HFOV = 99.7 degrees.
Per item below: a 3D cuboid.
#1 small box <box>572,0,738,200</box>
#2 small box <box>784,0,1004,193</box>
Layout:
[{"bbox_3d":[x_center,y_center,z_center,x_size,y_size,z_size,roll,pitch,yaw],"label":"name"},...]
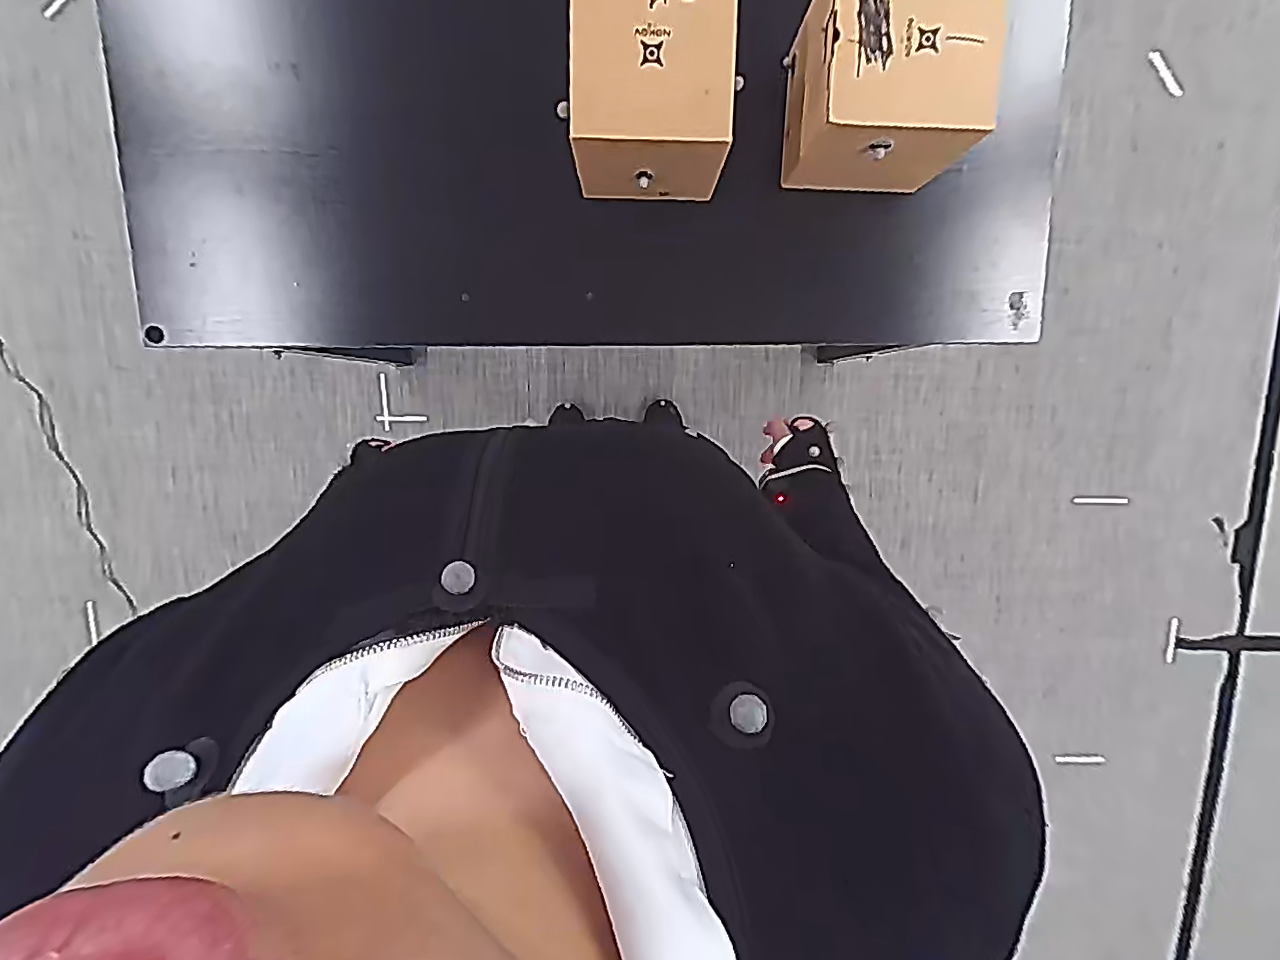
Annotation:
[{"bbox_3d":[0.014,-0.442,0.622,0.168,0.176,0.179,1,98,-1],"label":"small box"},{"bbox_3d":[0.275,-0.450,0.624,0.179,0.176,0.168,2,98,-2],"label":"small box"}]
